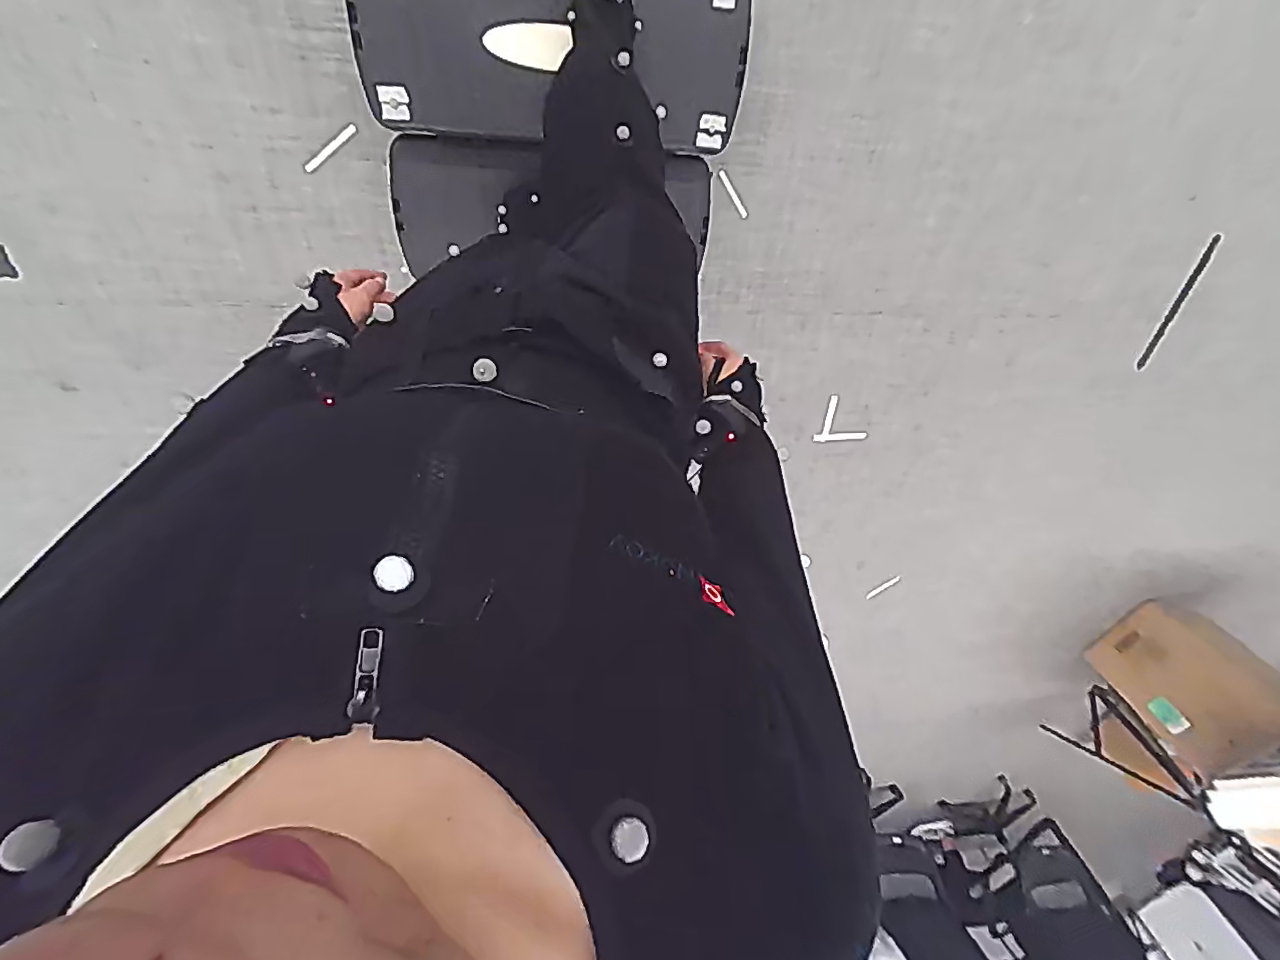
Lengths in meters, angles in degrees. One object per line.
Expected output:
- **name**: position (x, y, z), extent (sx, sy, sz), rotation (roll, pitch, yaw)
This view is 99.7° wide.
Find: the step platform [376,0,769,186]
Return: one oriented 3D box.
- **step platform**: position (-0.114, -0.757, 1.011), extent (0.684, 0.204, 0.286), rotation (2, 123, -12)
